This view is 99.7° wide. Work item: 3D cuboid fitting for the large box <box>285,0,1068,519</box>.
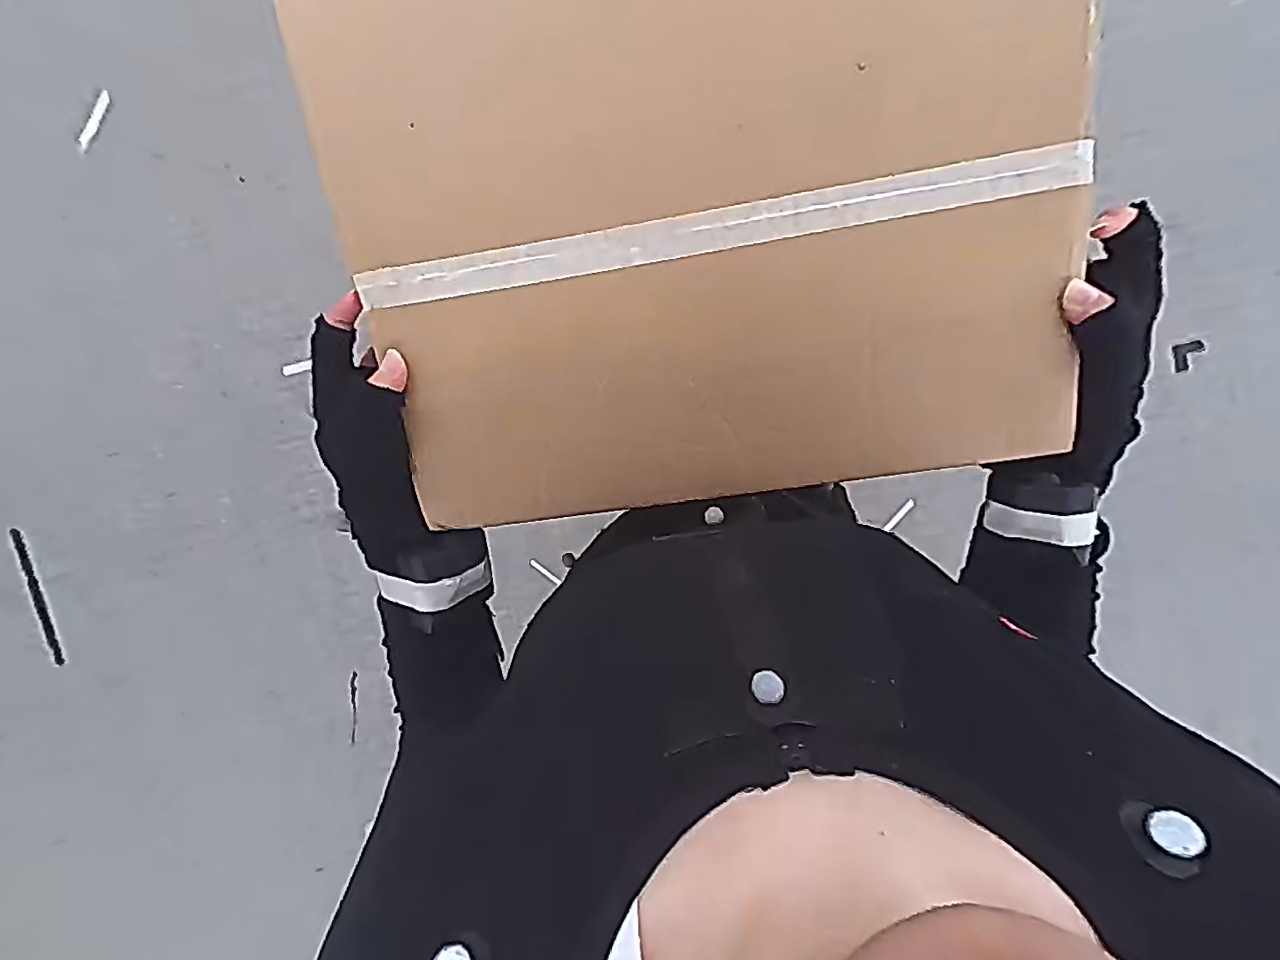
[{"bbox_3d":[0.038,-0.191,0.451,0.408,0.320,0.320,-8,106,5],"label":"large box"}]
